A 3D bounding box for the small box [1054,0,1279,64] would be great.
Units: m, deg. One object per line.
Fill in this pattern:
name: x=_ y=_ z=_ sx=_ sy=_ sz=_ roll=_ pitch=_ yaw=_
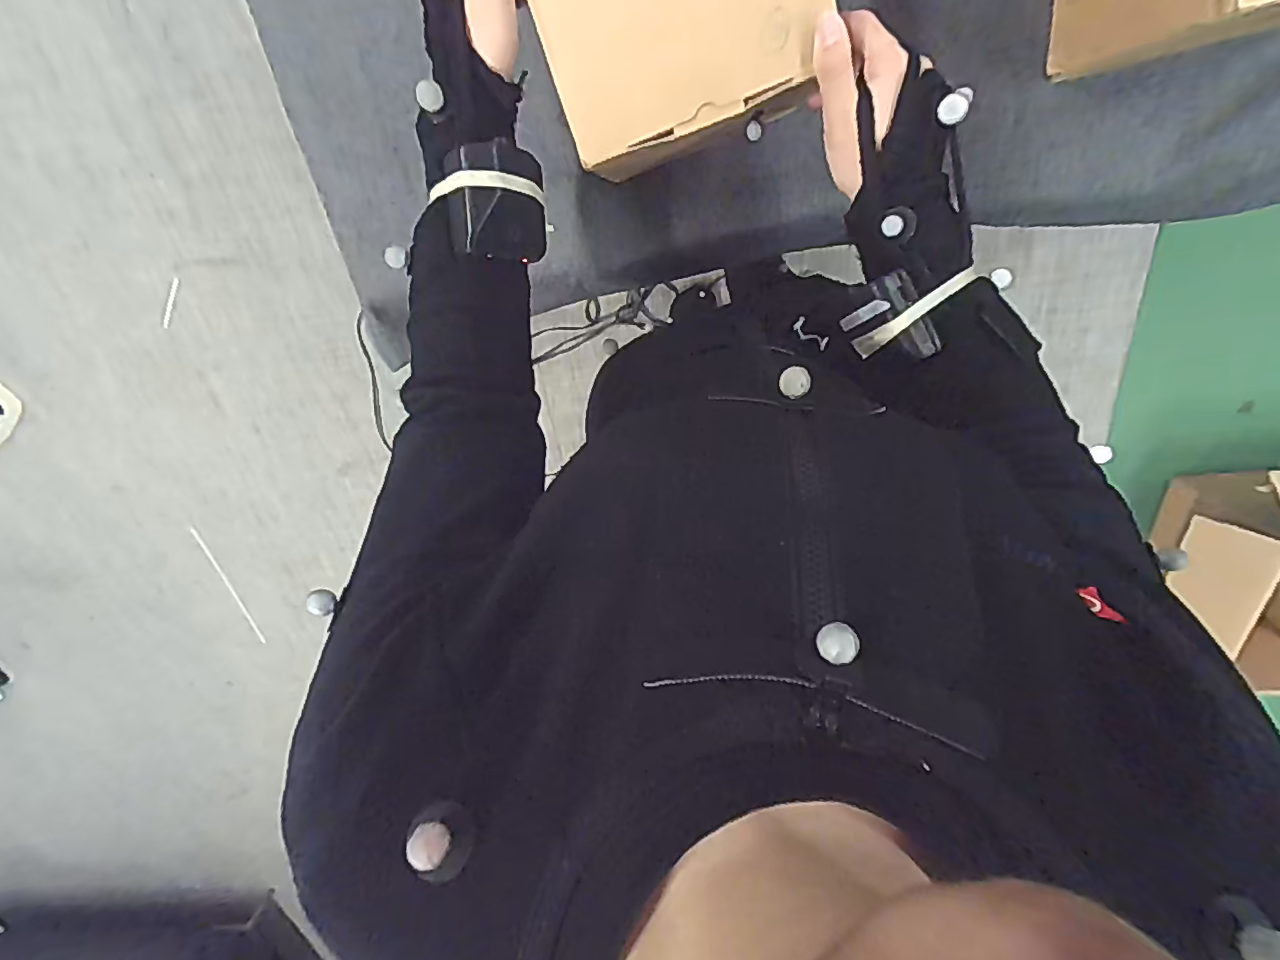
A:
small box: x=0.389 y=-0.371 z=0.308 sx=0.179 sy=0.176 sz=0.168 roll=-8 pitch=116 yaw=10
